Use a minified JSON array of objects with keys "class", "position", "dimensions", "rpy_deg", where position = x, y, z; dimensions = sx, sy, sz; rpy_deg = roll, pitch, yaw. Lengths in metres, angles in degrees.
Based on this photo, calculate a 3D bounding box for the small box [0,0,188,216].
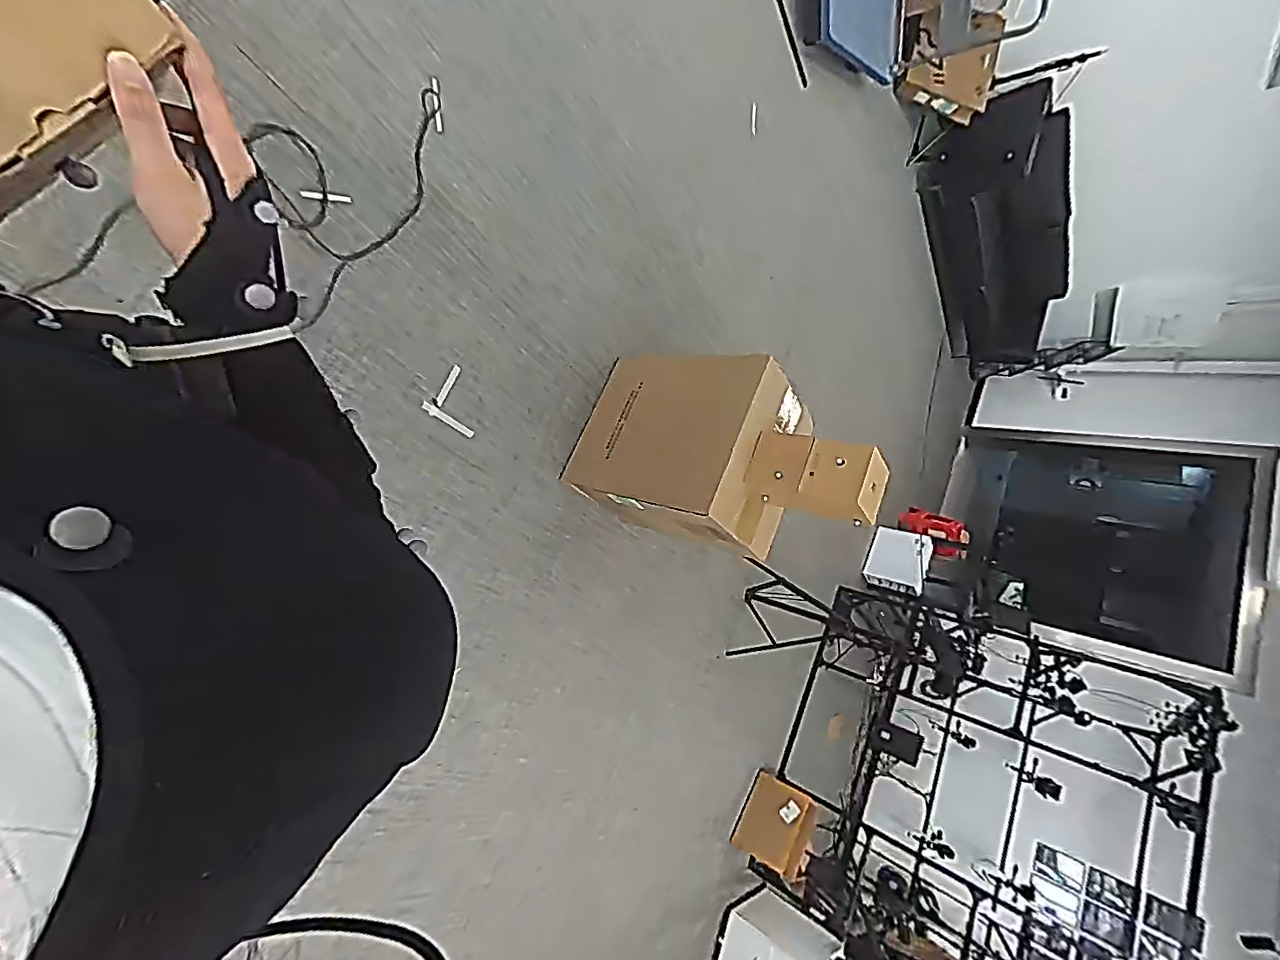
[{"class":"small box","position":[-0.380,-0.246,0.261],"dimensions":[0.168,0.176,0.179],"rpy_deg":[-54,136,-15]}]

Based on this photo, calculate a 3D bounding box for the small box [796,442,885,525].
[{"class":"small box","position":[0.547,0.005,1.478],"dimensions":[0.179,0.176,0.168],"rpy_deg":[37,71,-48]}]
